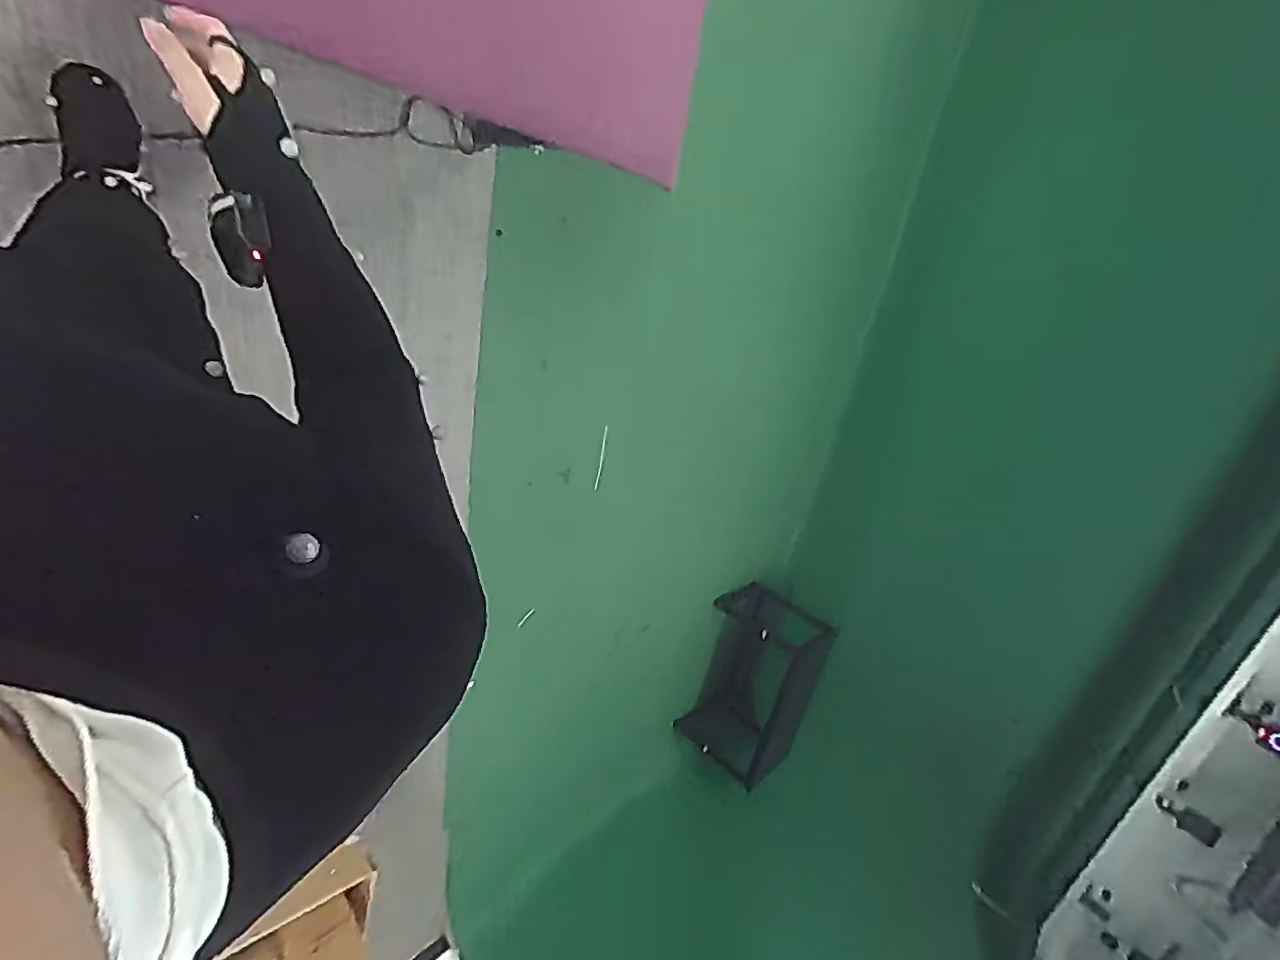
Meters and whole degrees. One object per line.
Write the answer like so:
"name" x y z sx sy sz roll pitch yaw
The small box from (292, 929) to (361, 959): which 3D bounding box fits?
"small box" -0.869 1.409 1.490 0.168 0.176 0.179 -8 118 -49
